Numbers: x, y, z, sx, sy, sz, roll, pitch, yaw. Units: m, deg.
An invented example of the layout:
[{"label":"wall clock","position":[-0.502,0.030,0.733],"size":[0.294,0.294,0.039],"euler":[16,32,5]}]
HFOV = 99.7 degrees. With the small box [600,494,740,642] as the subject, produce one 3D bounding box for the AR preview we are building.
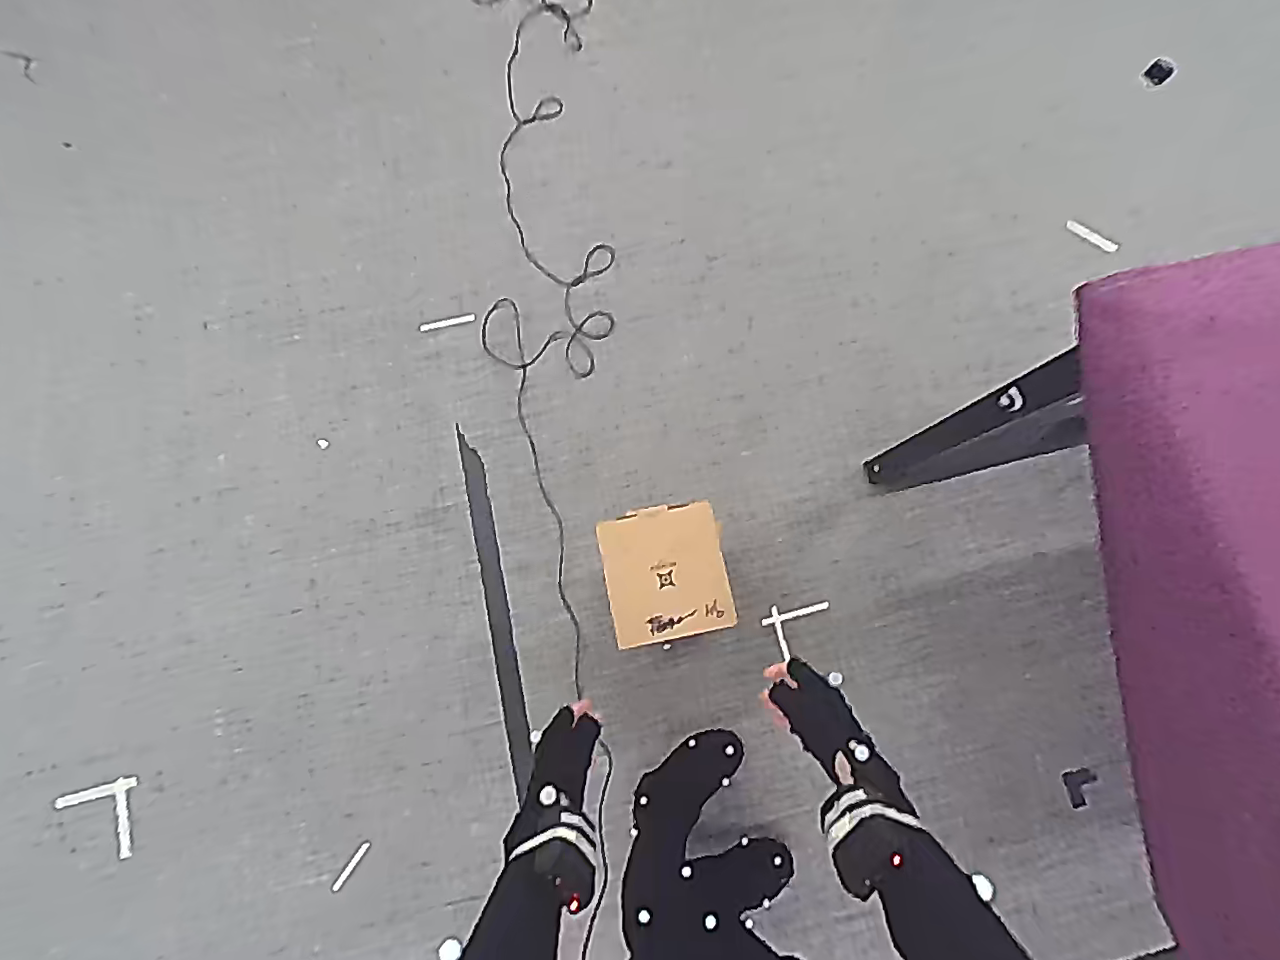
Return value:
[{"label":"small box","position":[0.039,0.133,0.808],"size":[0.168,0.176,0.179],"euler":[-12,79,-1]}]
